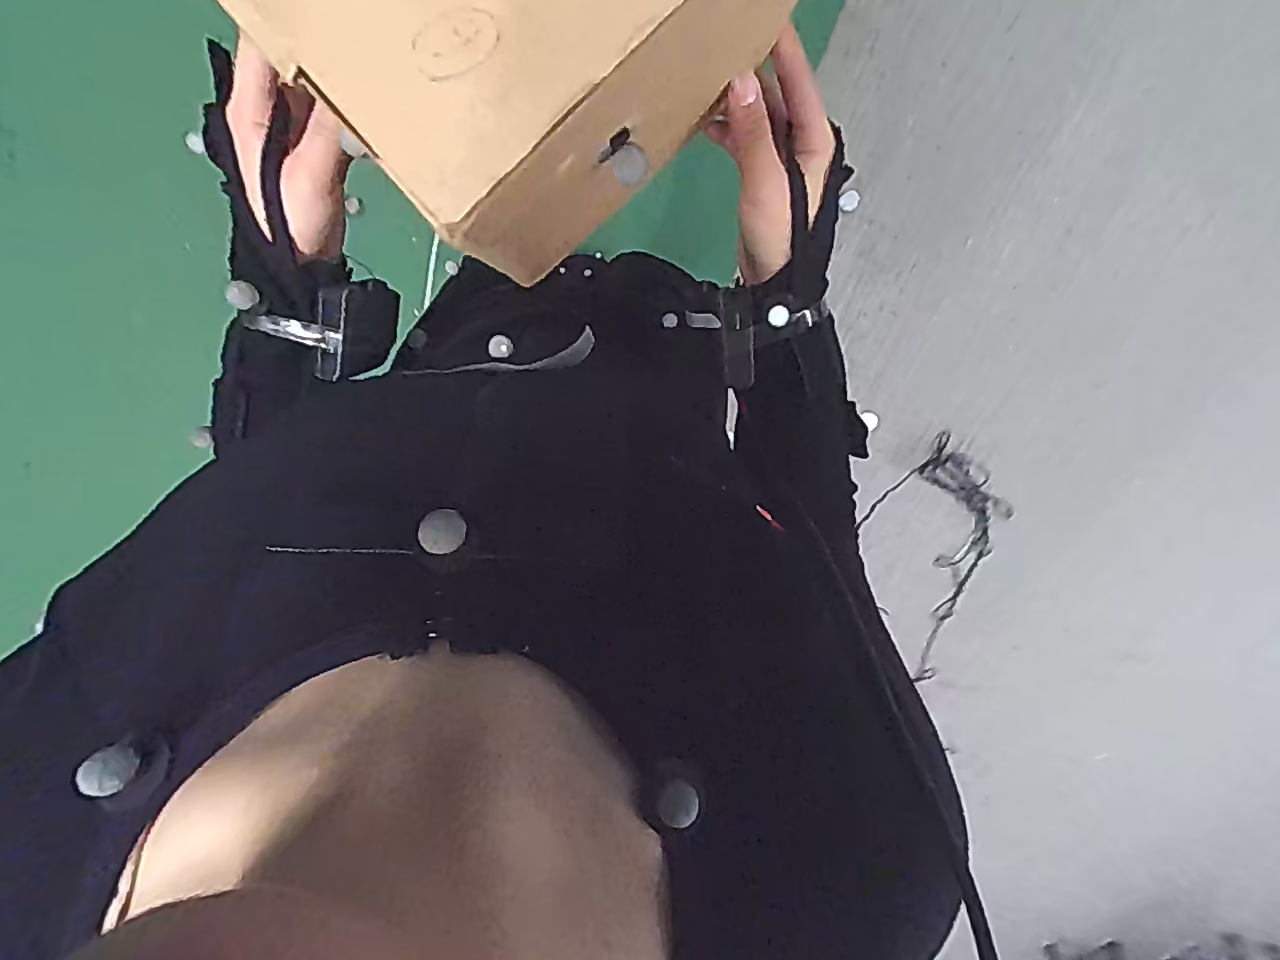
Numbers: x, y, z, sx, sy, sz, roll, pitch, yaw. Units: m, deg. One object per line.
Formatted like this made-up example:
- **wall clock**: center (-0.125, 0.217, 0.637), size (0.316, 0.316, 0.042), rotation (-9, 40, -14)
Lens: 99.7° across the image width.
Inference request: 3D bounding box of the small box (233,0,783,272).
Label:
- **small box**: center (-0.048, -0.208, 0.217), size (0.179, 0.176, 0.168), rotation (-39, 103, 8)
